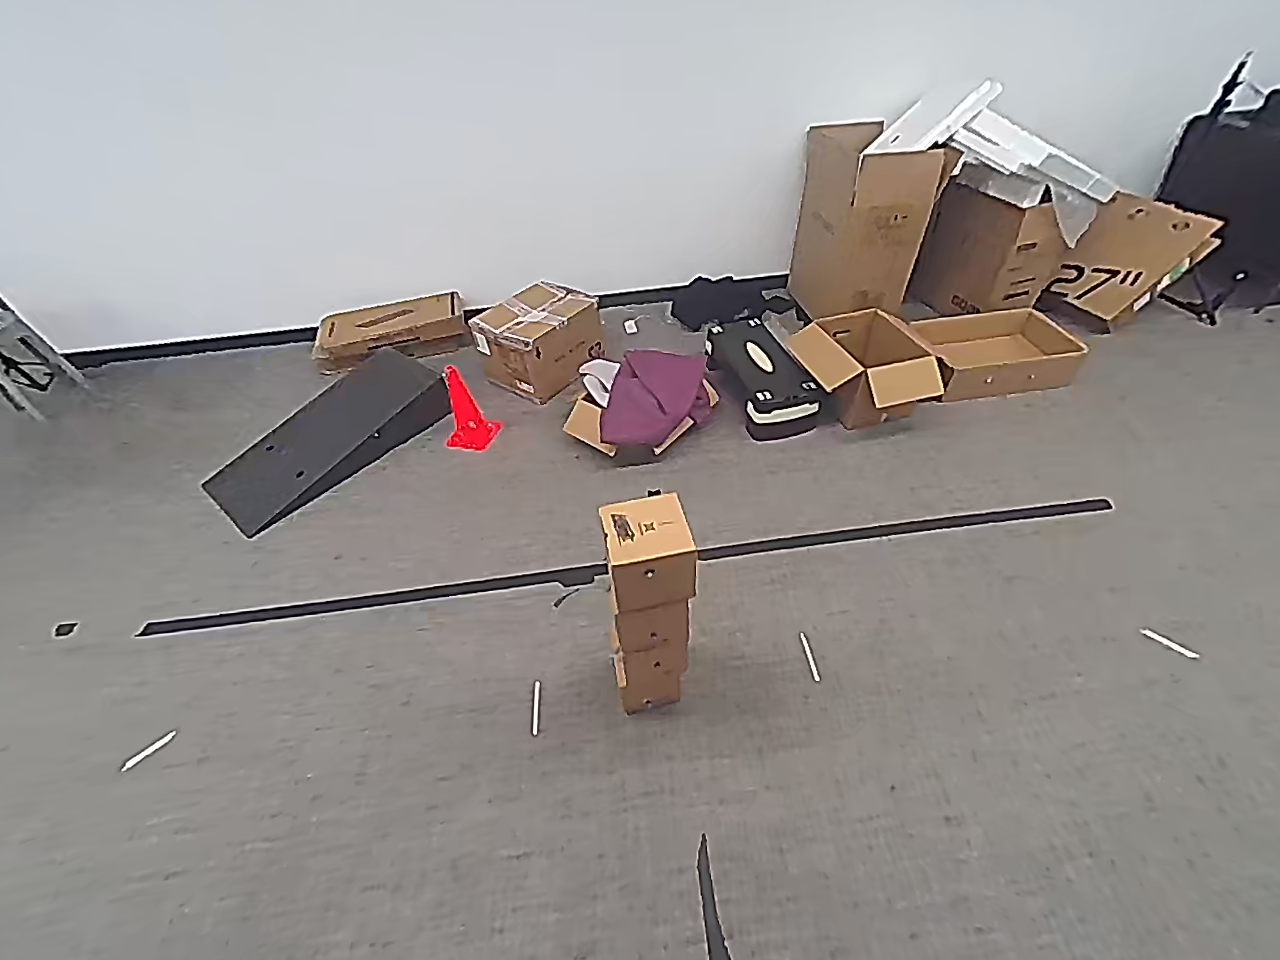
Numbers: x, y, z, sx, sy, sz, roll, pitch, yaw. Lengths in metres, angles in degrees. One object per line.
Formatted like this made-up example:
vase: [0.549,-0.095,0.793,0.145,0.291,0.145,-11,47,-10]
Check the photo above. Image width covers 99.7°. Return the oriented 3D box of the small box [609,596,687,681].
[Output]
small box: [0.023,0.399,1.395,0.168,0.176,0.179,-12,45,-6]

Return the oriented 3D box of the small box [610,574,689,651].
small box: [0.019,0.277,1.282,0.168,0.176,0.179,-9,45,-2]

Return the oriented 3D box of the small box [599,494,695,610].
small box: [0.016,0.159,1.168,0.179,0.176,0.168,-11,44,-6]

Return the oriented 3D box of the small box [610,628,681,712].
small box: [0.016,0.517,1.509,0.168,0.176,0.179,-12,46,-5]
